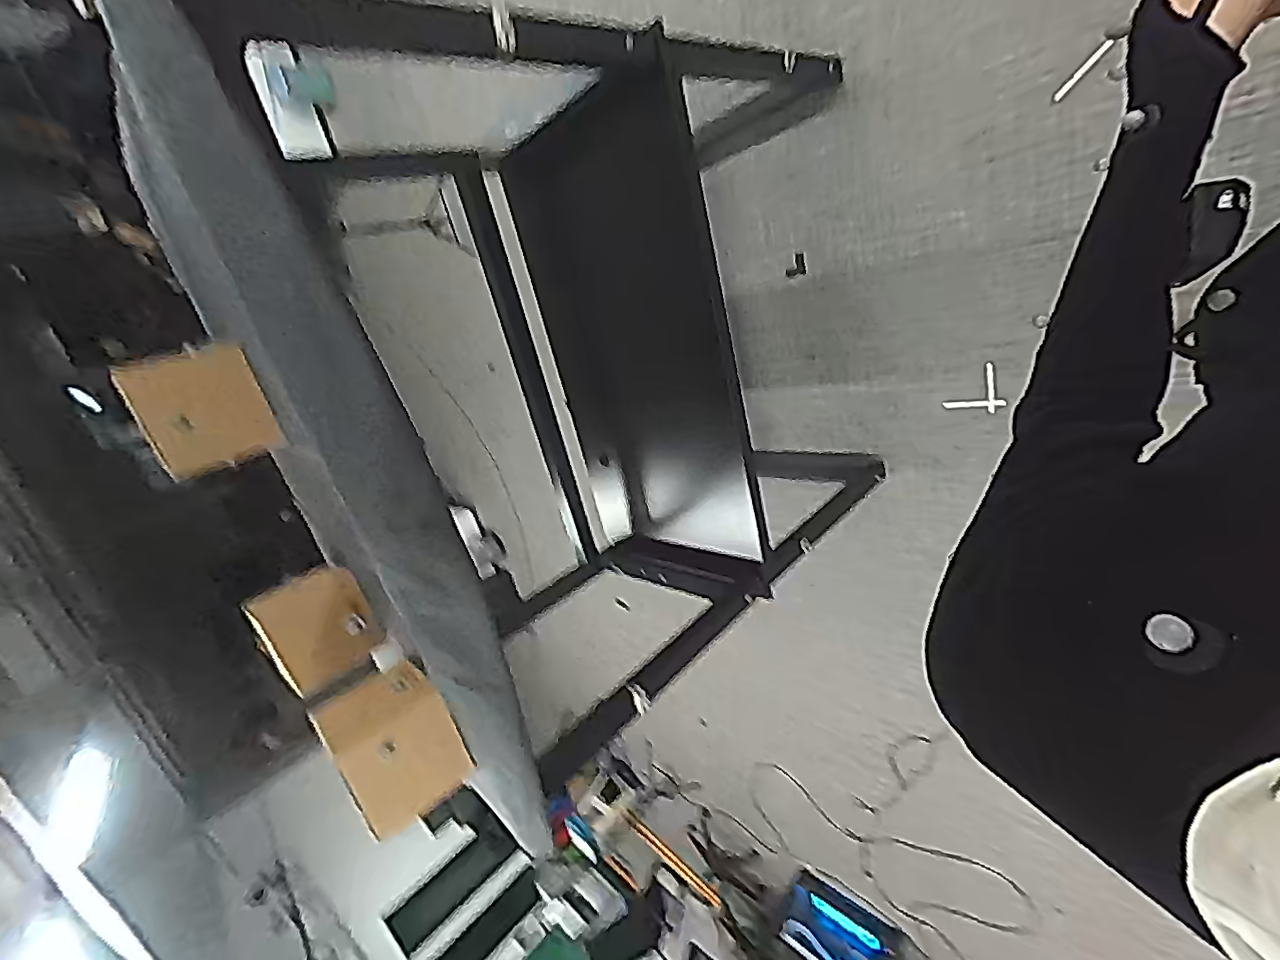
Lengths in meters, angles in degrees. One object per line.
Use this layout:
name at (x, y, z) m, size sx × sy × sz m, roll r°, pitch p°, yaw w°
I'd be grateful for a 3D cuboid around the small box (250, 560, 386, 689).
small box at (-0.625, 0.271, 1.058) m, size 0.179 × 0.176 × 0.168 m, roll -3°, pitch 112°, yaw 50°

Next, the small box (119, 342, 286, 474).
small box at (-0.749, -0.127, 0.939) m, size 0.168 × 0.176 × 0.179 m, roll 6°, pitch 118°, yaw 47°
